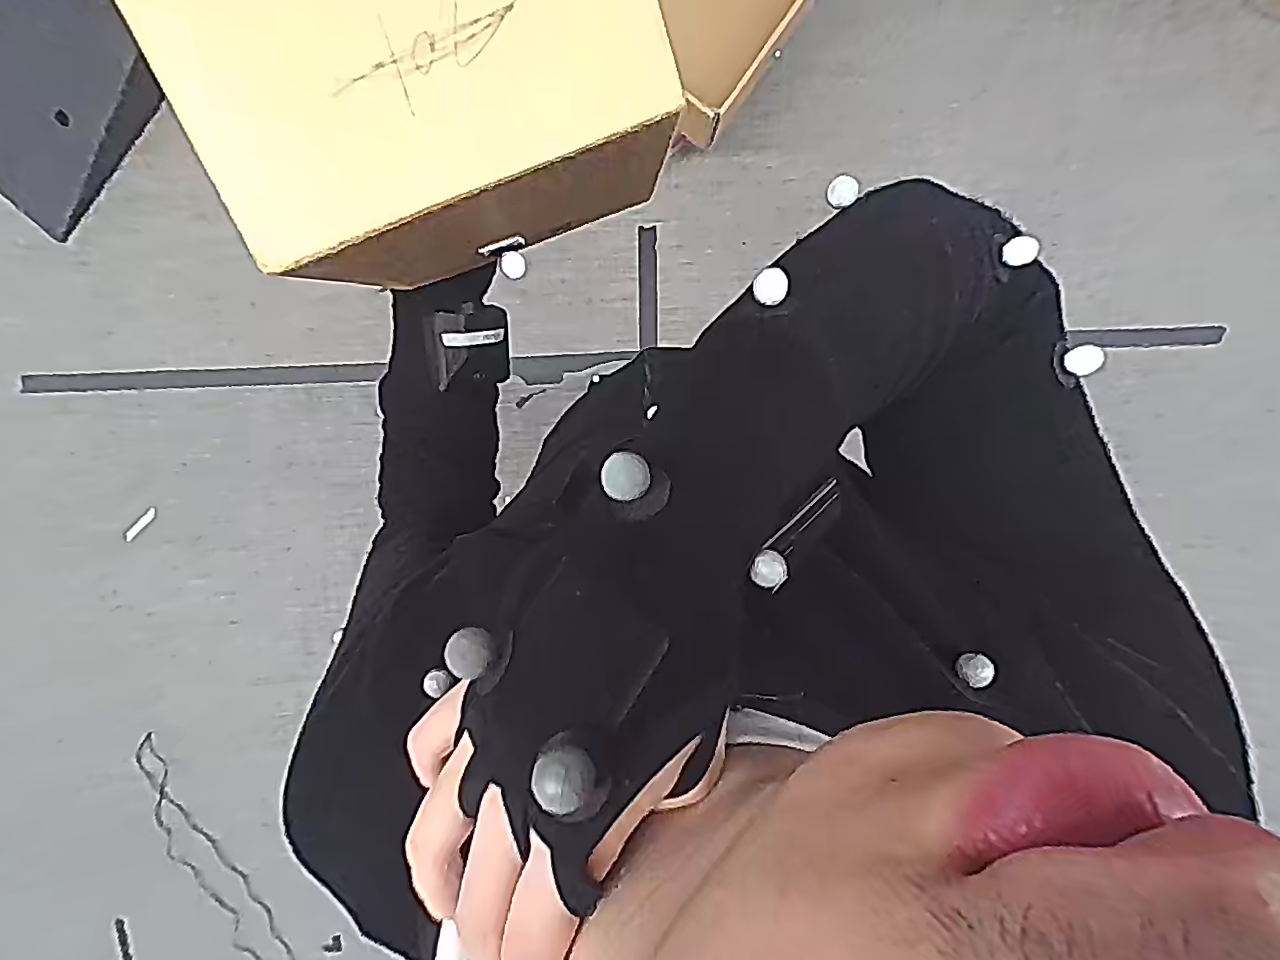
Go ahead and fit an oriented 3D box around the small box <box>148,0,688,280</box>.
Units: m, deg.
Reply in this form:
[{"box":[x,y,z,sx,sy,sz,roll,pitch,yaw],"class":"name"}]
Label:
[{"box":[-0.090,-0.209,0.253,0.168,0.176,0.179,-20,108,4],"class":"small box"}]
